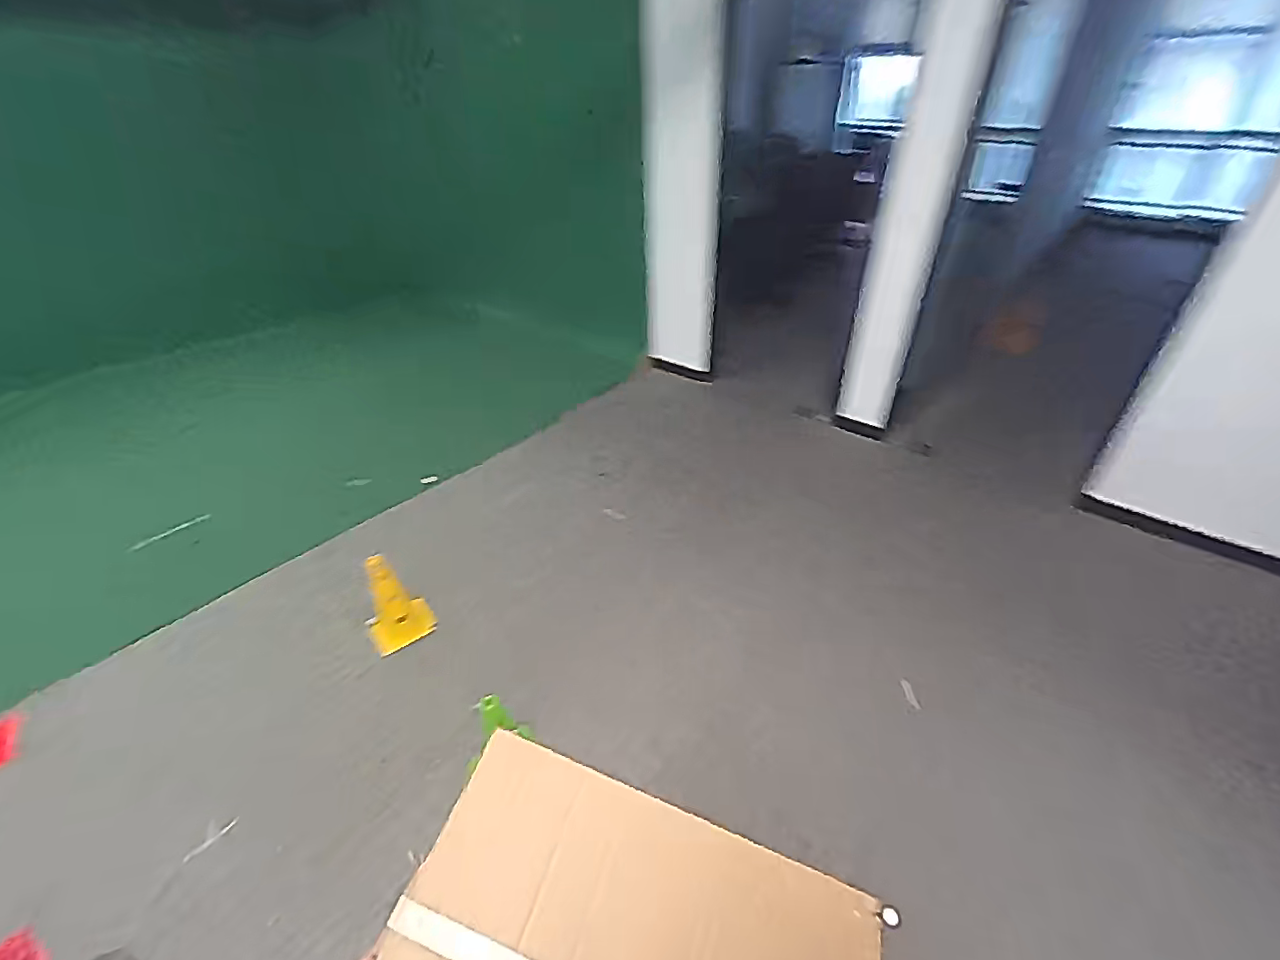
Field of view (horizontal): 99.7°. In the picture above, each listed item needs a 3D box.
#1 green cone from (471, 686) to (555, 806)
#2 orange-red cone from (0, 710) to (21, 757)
[{"bbox_3d":[-0.392,0.716,1.548,0.200,0.368,0.202,-29,43,-32],"label":"green cone"},{"bbox_3d":[-2.114,0.712,1.613,0.199,0.360,0.198,-29,43,-30],"label":"orange-red cone"}]
